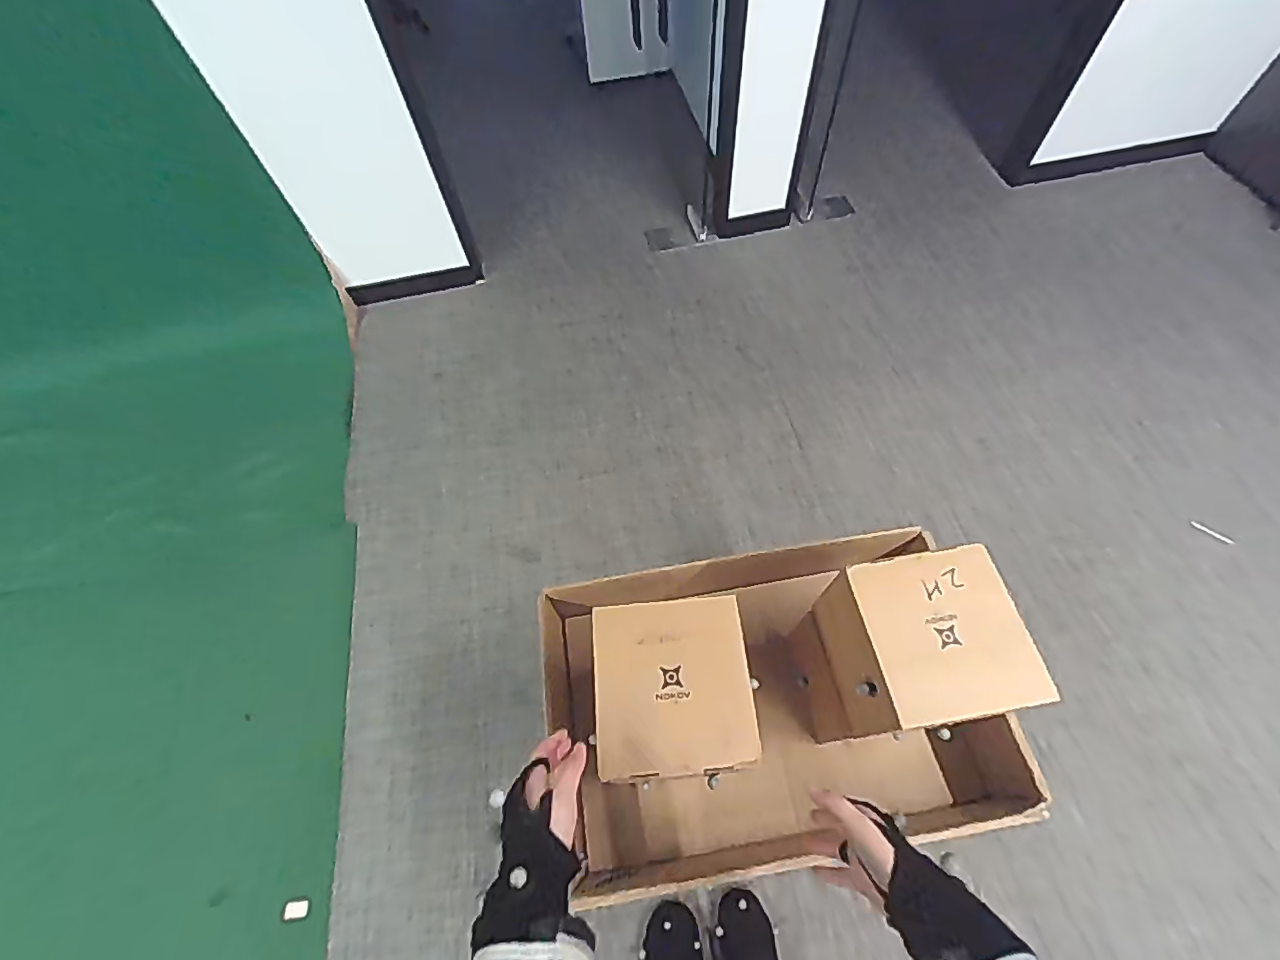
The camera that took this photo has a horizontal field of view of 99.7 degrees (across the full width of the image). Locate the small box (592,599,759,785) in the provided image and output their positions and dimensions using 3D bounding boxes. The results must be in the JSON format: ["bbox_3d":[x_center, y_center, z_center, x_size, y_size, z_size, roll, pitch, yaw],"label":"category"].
[{"bbox_3d":[0.036,0.254,0.637,0.168,0.176,0.179,-5,60,0],"label":"small box"}]

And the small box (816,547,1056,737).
[{"bbox_3d":[0.327,0.200,0.644,0.168,0.176,0.179,-9,61,-1],"label":"small box"}]
